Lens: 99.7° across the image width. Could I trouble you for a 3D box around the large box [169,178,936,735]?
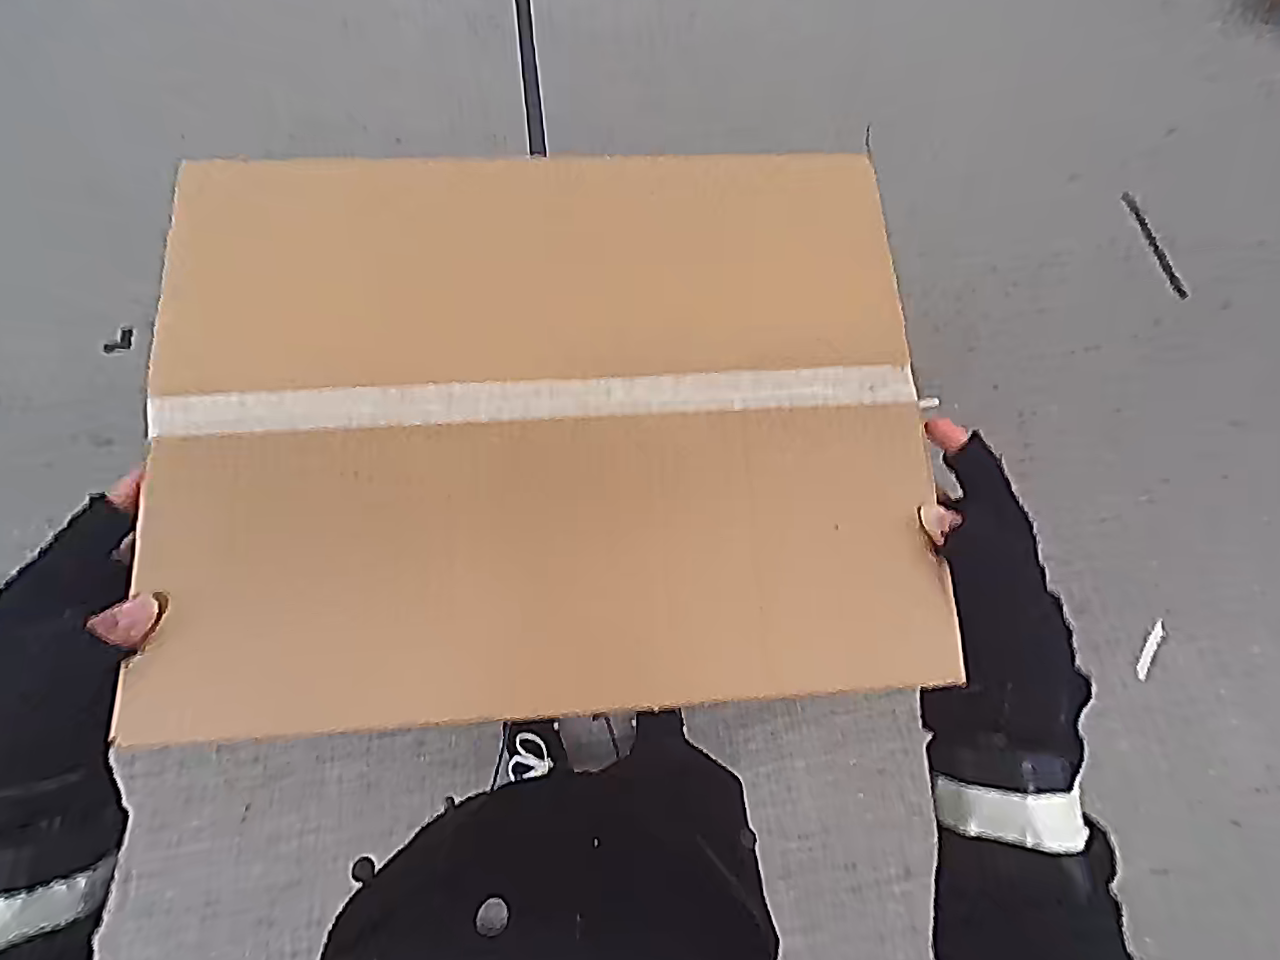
[{"bbox_3d":[-0.056,-0.005,0.454,0.408,0.320,0.320,-3,79,-4],"label":"large box"}]
